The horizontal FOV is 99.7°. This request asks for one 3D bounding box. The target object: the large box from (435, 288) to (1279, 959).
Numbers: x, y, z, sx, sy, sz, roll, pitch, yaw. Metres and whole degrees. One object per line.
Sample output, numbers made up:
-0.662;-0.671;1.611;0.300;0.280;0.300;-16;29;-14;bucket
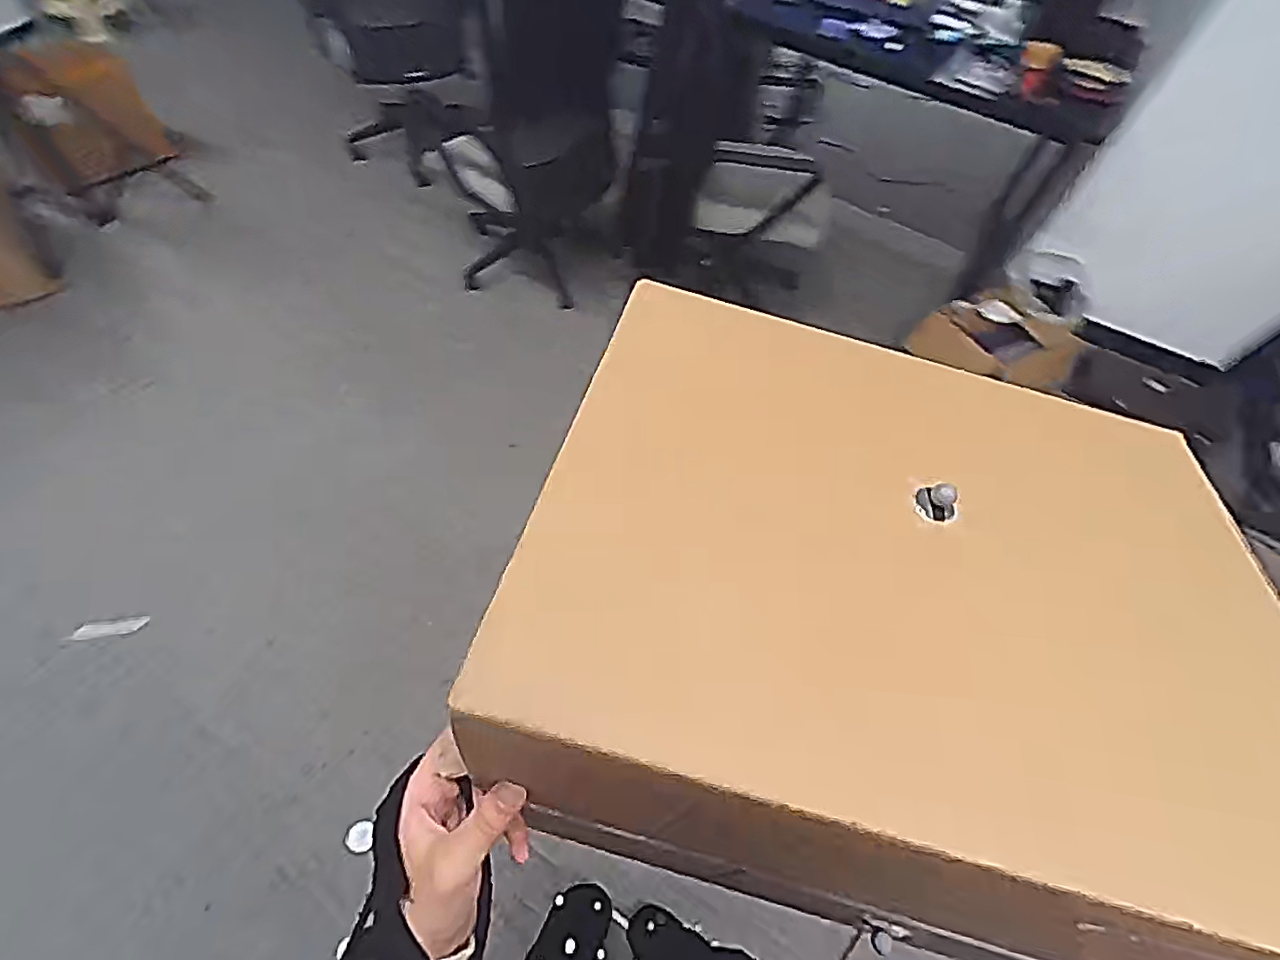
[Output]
0.121;0.105;0.407;0.408;0.320;0.320;14;52;1;large box
